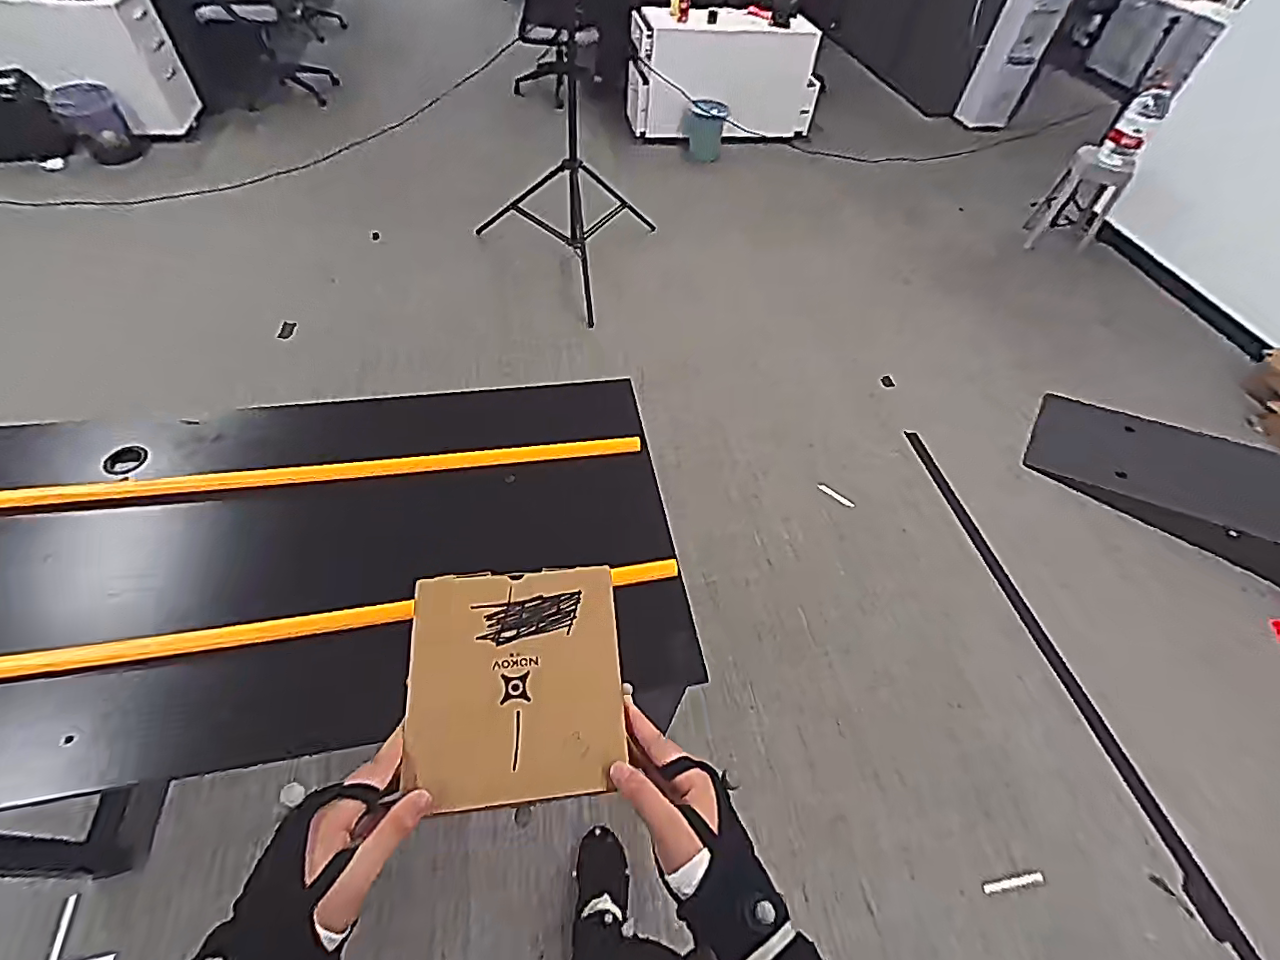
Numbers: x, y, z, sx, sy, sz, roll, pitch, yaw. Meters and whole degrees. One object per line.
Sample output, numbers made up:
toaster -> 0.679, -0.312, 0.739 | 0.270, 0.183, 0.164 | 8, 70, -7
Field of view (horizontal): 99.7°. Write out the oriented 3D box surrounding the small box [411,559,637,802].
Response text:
small box -> -0.099, 0.189, 0.503 | 0.168, 0.176, 0.179 | -3, 60, -8
